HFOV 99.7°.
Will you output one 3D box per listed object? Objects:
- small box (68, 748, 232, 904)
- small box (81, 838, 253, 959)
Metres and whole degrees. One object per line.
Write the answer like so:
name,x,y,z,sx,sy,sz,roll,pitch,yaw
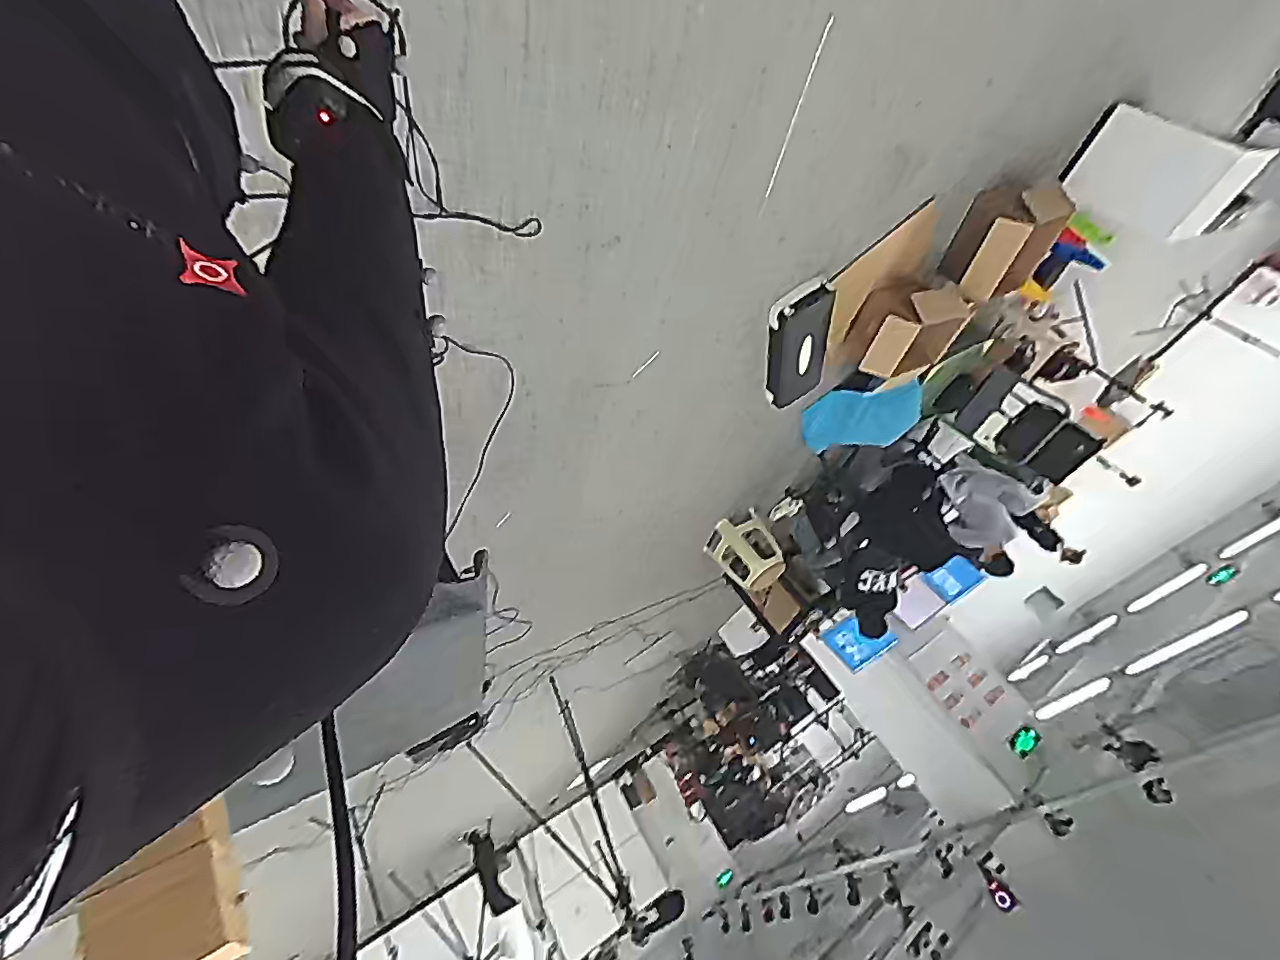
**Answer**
small box,-0.872,0.623,0.971,0.179,0.176,0.168,-19,148,-31
small box,-0.781,0.738,0.901,0.179,0.176,0.168,-16,146,-32
